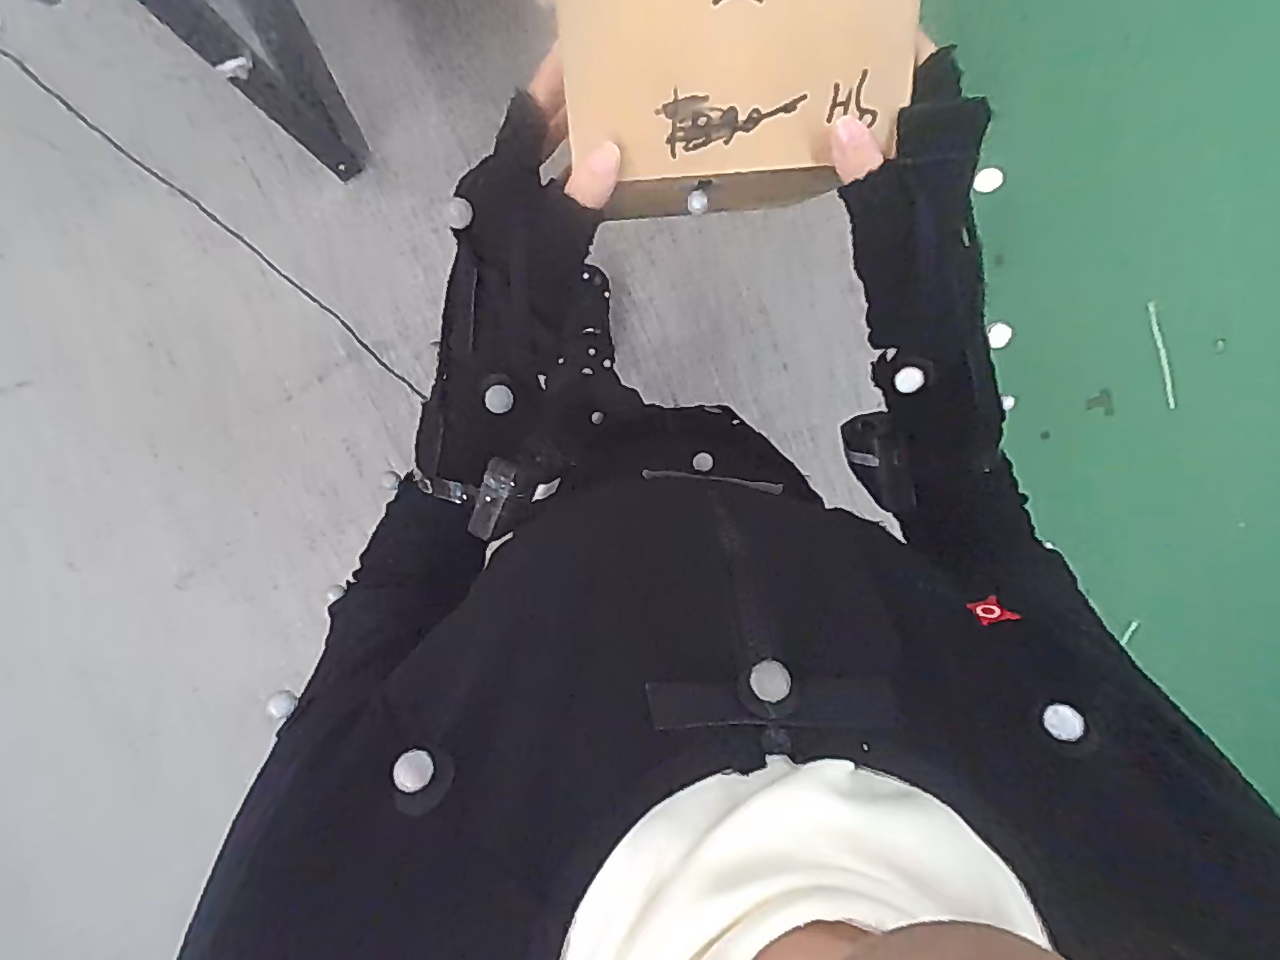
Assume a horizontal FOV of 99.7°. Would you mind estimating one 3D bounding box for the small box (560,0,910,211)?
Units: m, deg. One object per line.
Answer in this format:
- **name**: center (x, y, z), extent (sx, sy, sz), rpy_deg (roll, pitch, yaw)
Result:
- **small box**: center (0.038, -0.268, 0.316), extent (0.168, 0.176, 0.179), rpy_deg (-5, 111, -2)
